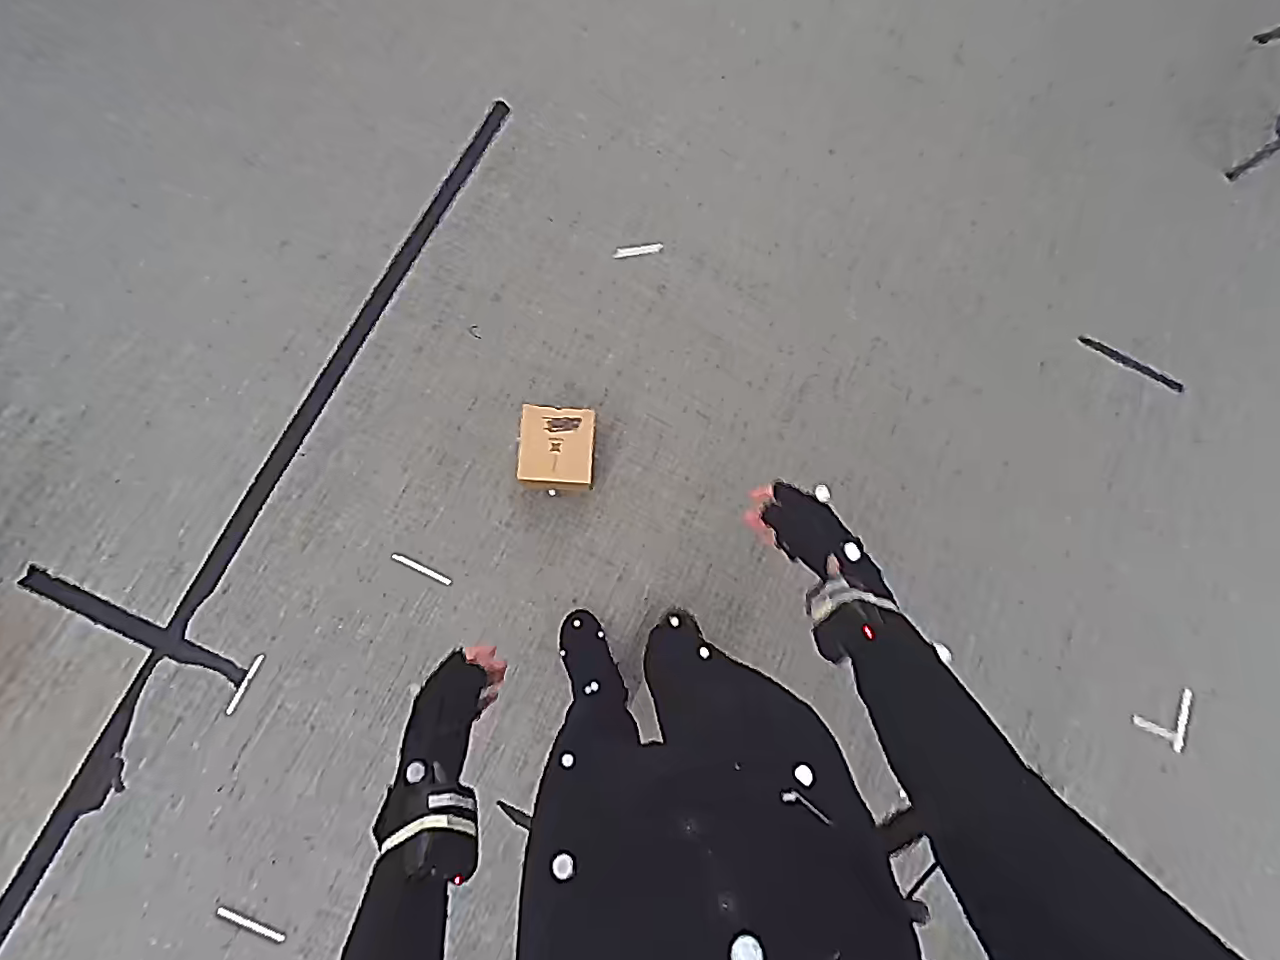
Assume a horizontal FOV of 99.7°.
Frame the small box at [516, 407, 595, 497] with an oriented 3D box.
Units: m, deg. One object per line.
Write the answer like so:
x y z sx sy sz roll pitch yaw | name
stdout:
-0.201 -0.061 1.299 0.168 0.176 0.179 4 81 -6 | small box
